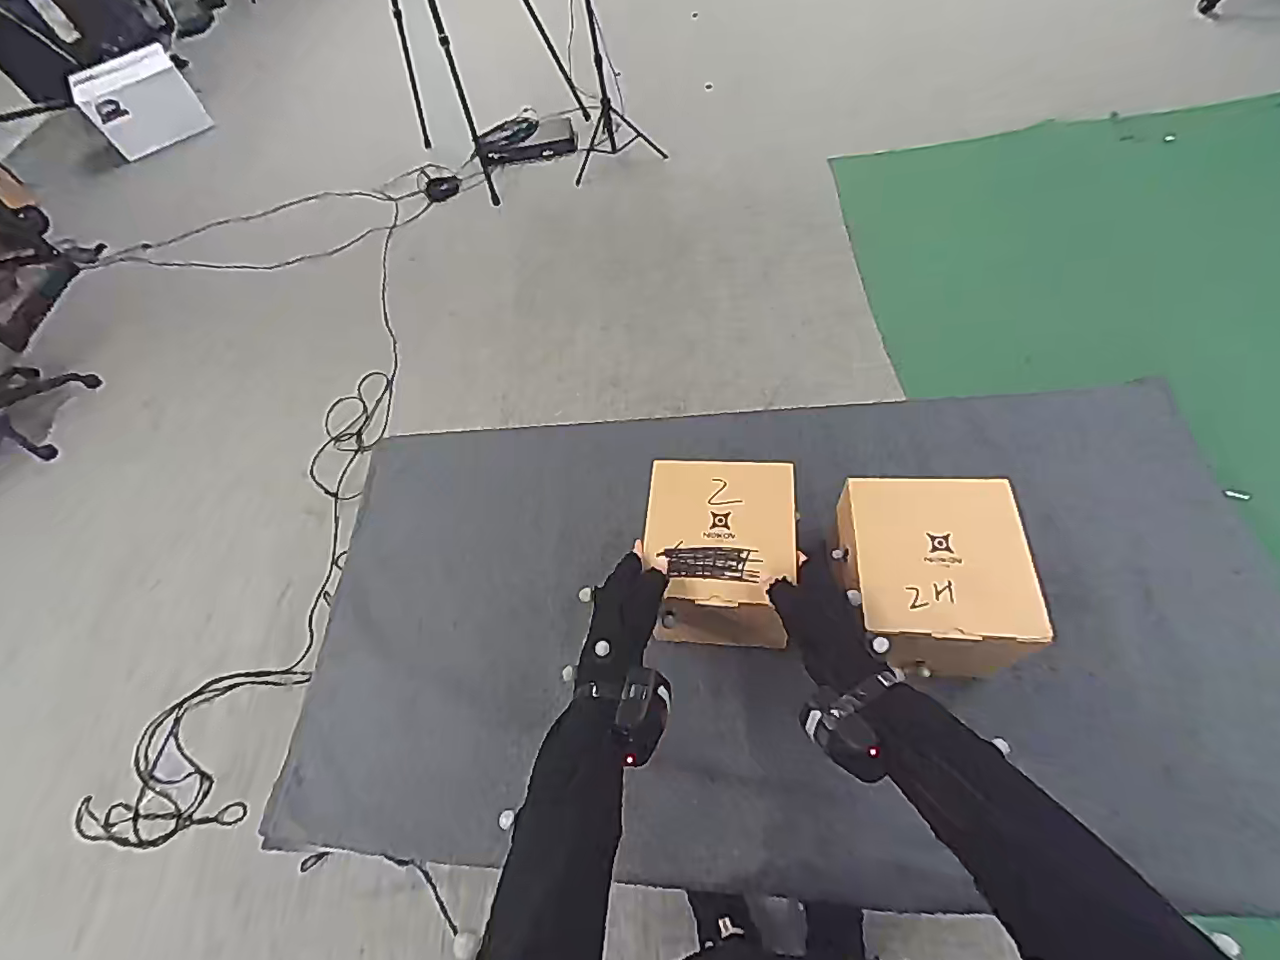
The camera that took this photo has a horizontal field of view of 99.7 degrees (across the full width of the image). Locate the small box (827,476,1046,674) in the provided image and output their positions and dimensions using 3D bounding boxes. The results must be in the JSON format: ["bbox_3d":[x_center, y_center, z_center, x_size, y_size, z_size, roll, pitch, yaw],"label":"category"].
[{"bbox_3d":[0.315,0.111,0.621,0.168,0.176,0.179,0,60,11],"label":"small box"}]
